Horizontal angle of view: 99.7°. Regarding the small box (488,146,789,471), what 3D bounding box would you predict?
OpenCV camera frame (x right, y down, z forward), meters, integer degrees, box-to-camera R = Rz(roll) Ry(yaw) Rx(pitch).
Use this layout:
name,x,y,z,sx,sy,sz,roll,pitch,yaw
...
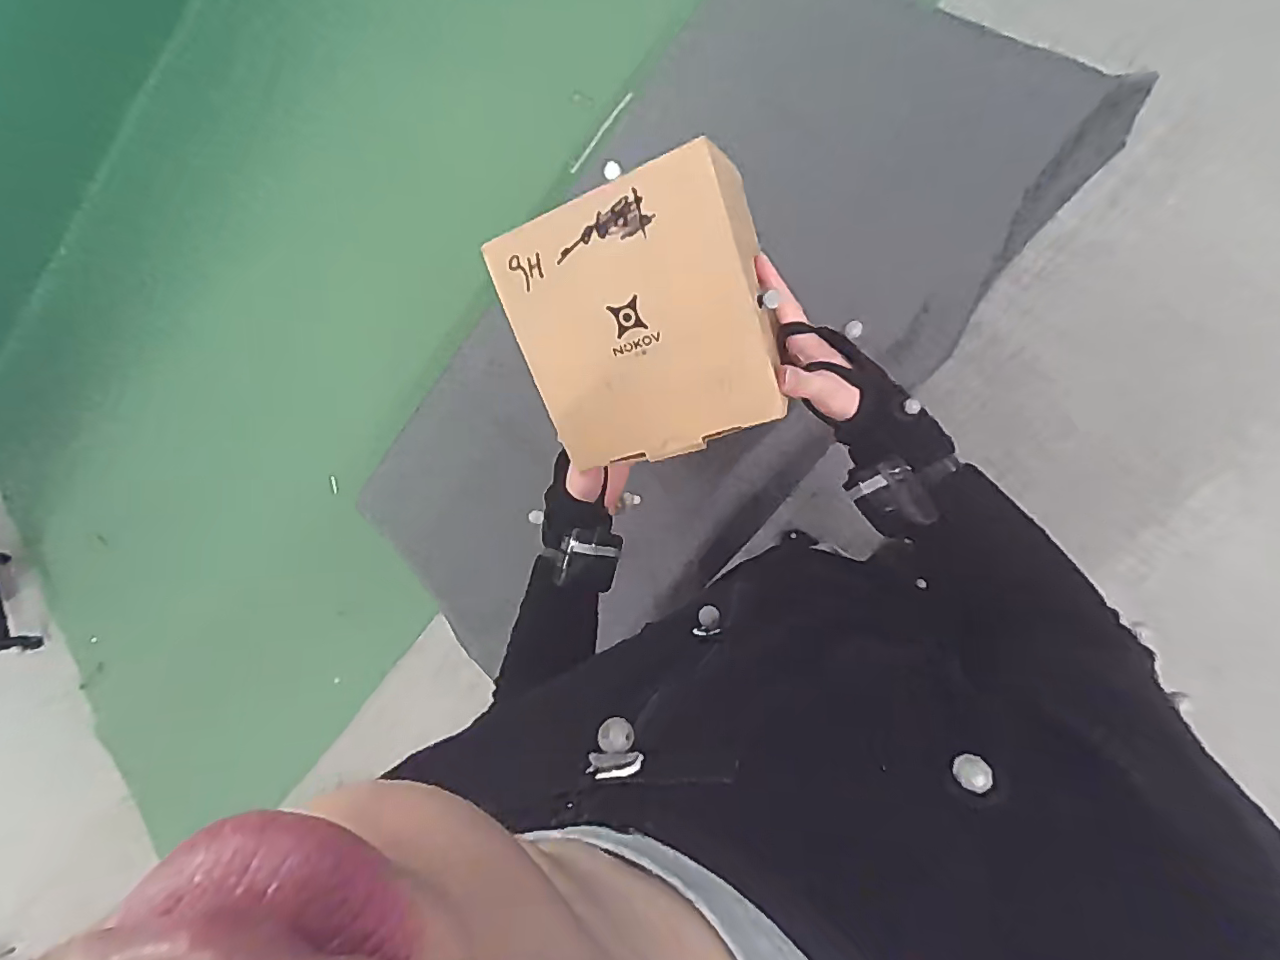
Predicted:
name,x,y,z,sx,sy,sz,roll,pitch,yaw
small box,0.019,-0.132,0.432,0.168,0.176,0.179,-14,109,21
